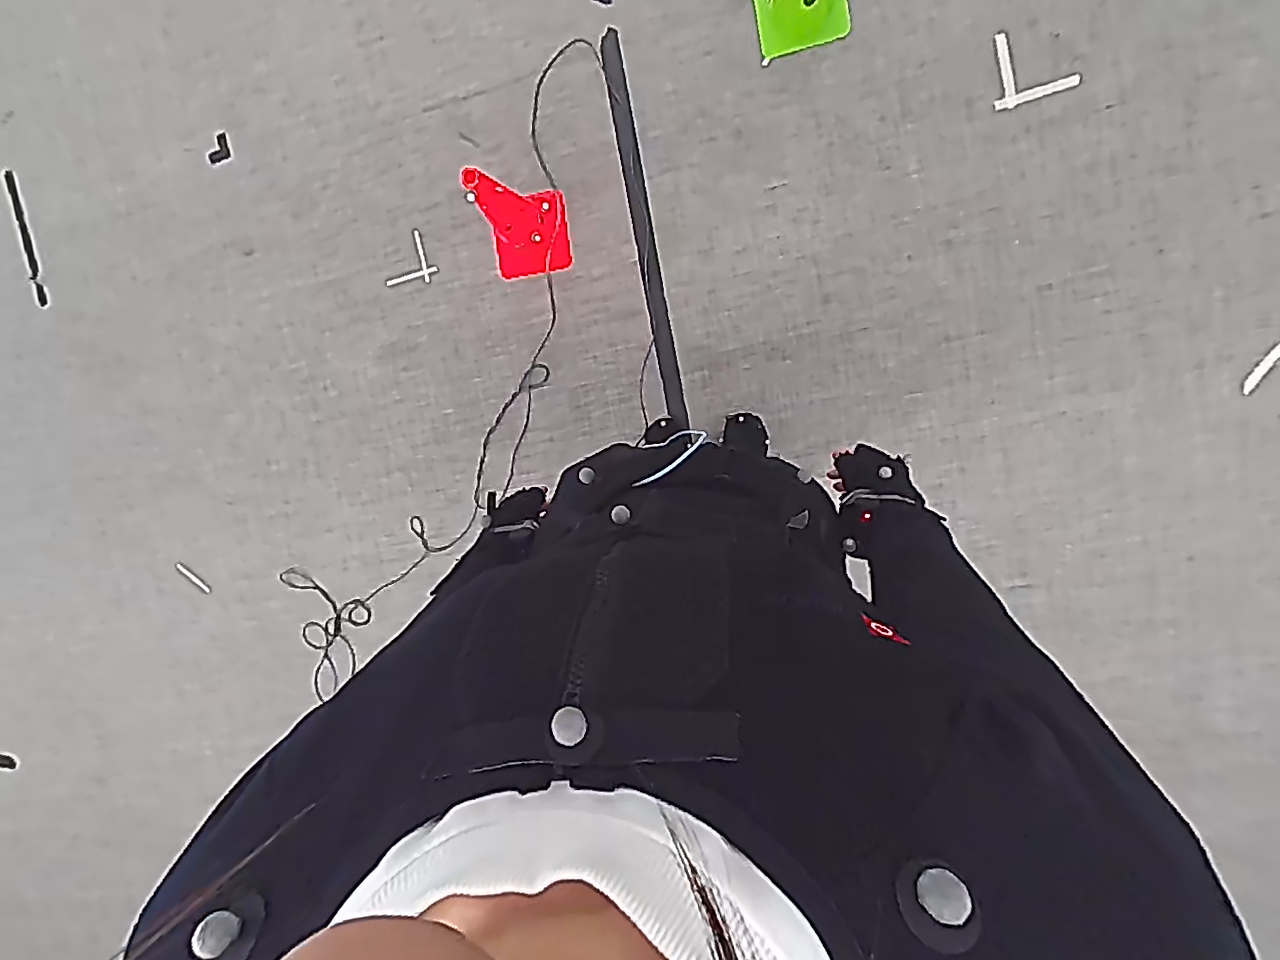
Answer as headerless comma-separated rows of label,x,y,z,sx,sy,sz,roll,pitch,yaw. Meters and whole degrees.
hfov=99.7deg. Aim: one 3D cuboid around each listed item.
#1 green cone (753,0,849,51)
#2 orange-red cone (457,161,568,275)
green cone,0.339,-1.079,1.063,0.202,0.368,0.200,-10,96,9
orange-red cone,-0.314,-0.621,1.226,0.199,0.360,0.198,-6,95,11
